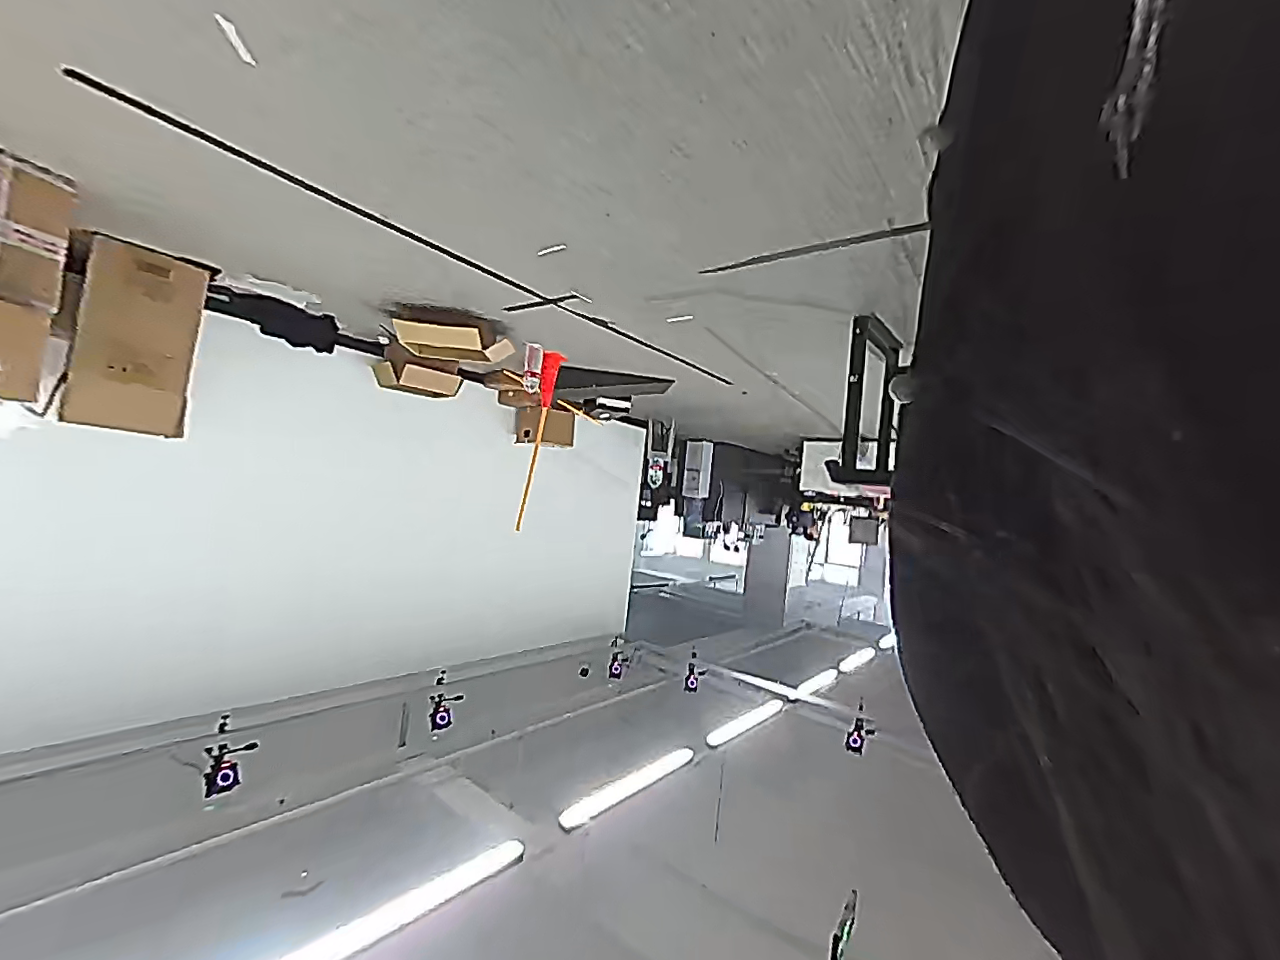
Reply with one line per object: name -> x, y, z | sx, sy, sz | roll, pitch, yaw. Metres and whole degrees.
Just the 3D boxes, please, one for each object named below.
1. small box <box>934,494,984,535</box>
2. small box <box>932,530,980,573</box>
small box -> 1.430, 0.152, 2.421 | 0.179, 0.176, 0.168 | 4, 177, 35
small box -> 1.414, 0.315, 2.416 | 0.179, 0.176, 0.168 | 4, 176, 33
